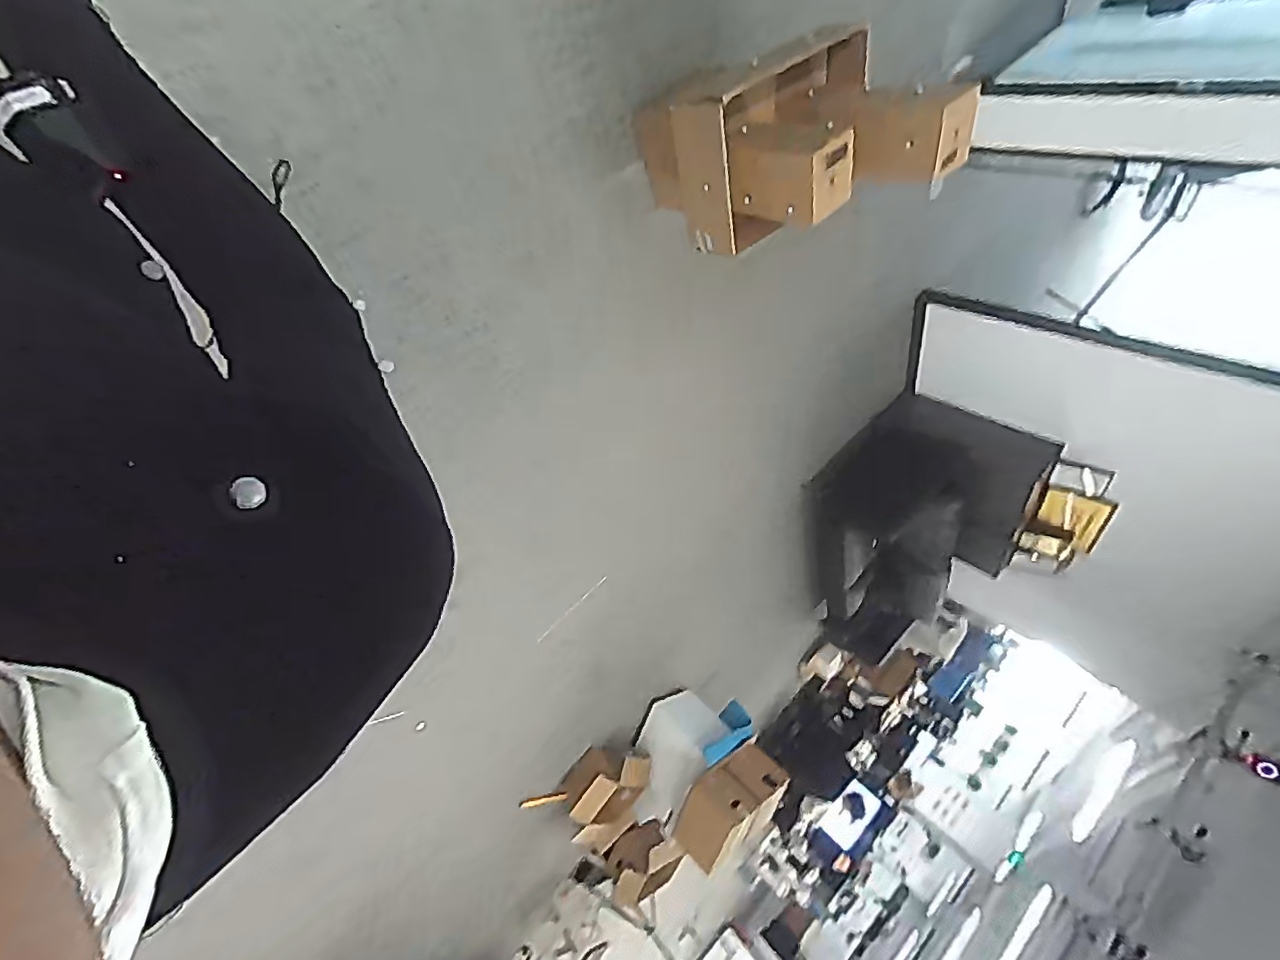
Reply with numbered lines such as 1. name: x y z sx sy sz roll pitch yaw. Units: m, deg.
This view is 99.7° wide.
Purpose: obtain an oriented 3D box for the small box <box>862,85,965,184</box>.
1. small box: 0.704 -0.905 1.410 0.168 0.176 0.179 -38 139 -20

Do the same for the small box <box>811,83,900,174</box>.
1. small box: 0.596 -0.980 1.510 0.168 0.176 0.179 -37 138 -21

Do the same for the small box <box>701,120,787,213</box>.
1. small box: 0.293 -0.882 1.516 0.168 0.176 0.179 -41 140 -20

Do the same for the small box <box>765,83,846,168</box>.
1. small box: 0.486 -1.054 1.606 0.168 0.176 0.179 -37 140 -22
